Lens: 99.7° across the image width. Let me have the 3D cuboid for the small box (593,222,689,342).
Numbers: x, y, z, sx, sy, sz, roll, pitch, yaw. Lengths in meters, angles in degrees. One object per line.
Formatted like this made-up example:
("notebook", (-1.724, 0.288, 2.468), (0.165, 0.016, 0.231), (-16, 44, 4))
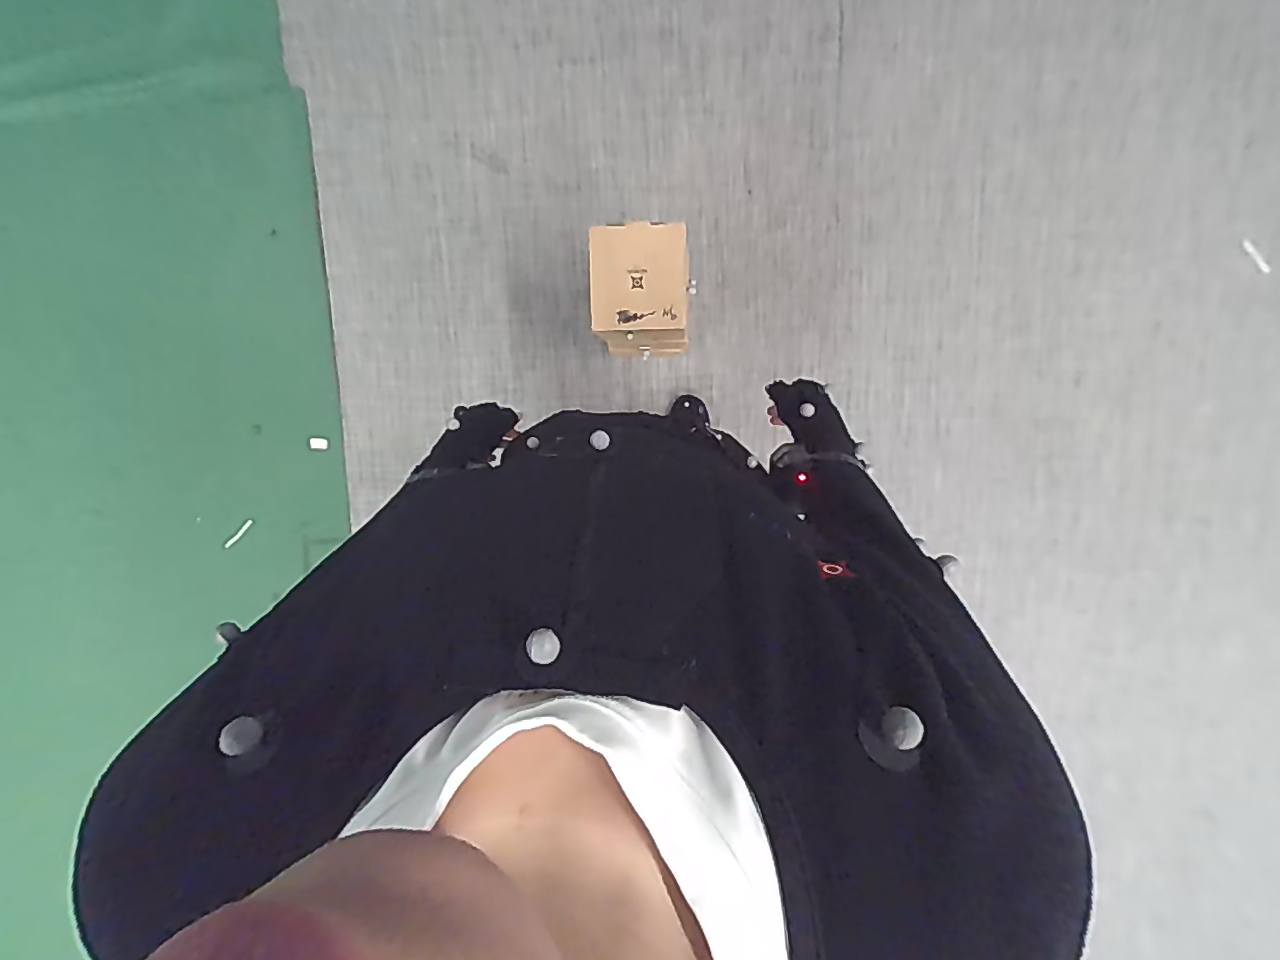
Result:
("small box", (0.006, -0.358, 1.003), (0.168, 0.176, 0.179), (0, 97, 5))

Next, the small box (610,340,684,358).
("small box", (0.022, -0.391, 1.326), (0.179, 0.176, 0.168), (1, 98, 5))

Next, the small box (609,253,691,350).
("small box", (0.025, -0.377, 1.165), (0.168, 0.176, 0.179), (0, 99, 6))
